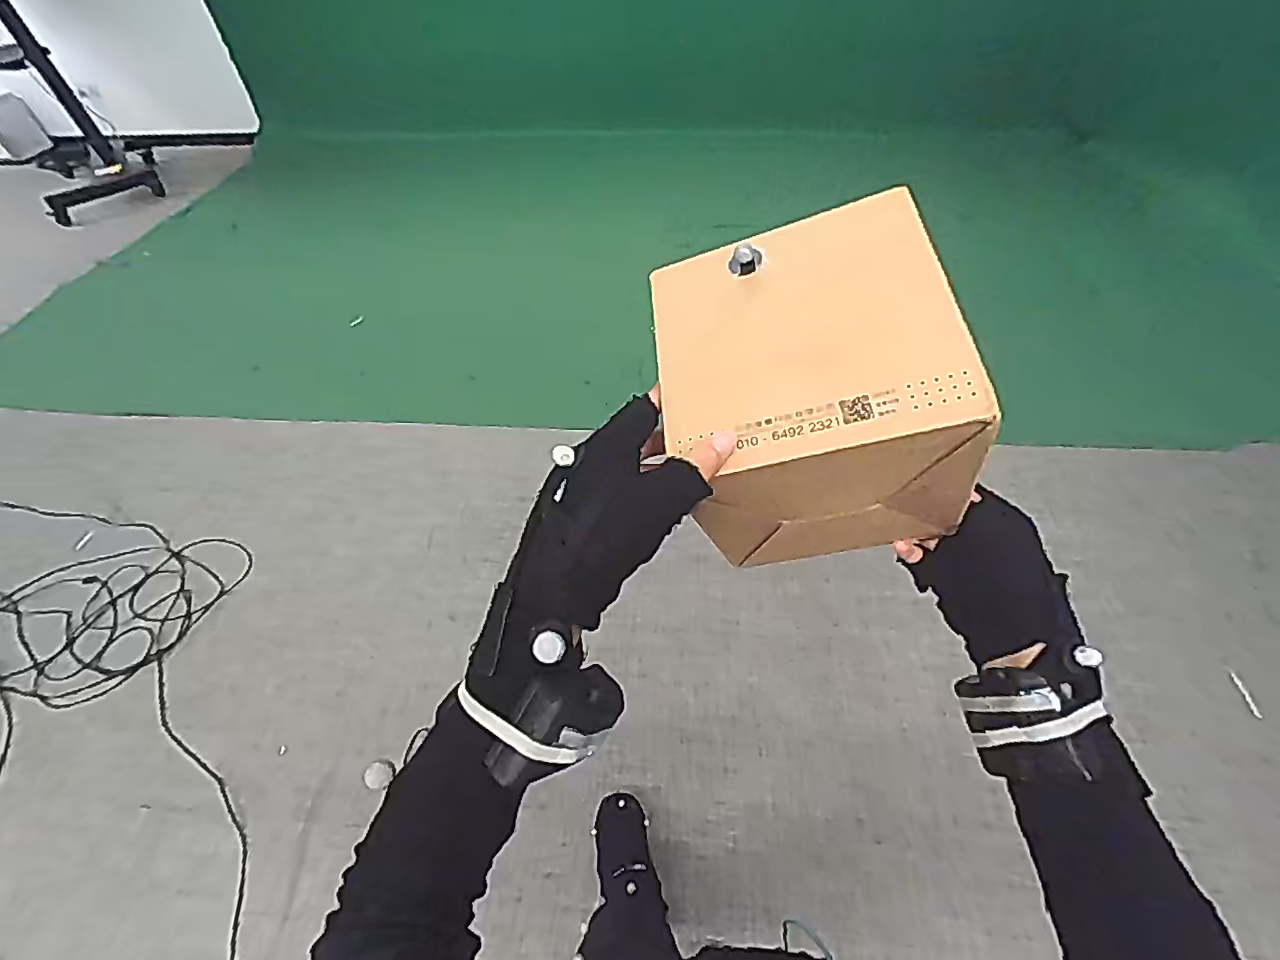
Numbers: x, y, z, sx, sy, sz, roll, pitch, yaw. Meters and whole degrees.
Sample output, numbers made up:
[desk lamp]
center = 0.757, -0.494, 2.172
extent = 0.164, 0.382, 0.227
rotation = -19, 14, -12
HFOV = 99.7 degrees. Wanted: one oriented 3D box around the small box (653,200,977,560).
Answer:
[small box]
center = 0.117, -0.051, 0.393
extent = 0.168, 0.179, 0.176
rotation = -13, 61, 17
